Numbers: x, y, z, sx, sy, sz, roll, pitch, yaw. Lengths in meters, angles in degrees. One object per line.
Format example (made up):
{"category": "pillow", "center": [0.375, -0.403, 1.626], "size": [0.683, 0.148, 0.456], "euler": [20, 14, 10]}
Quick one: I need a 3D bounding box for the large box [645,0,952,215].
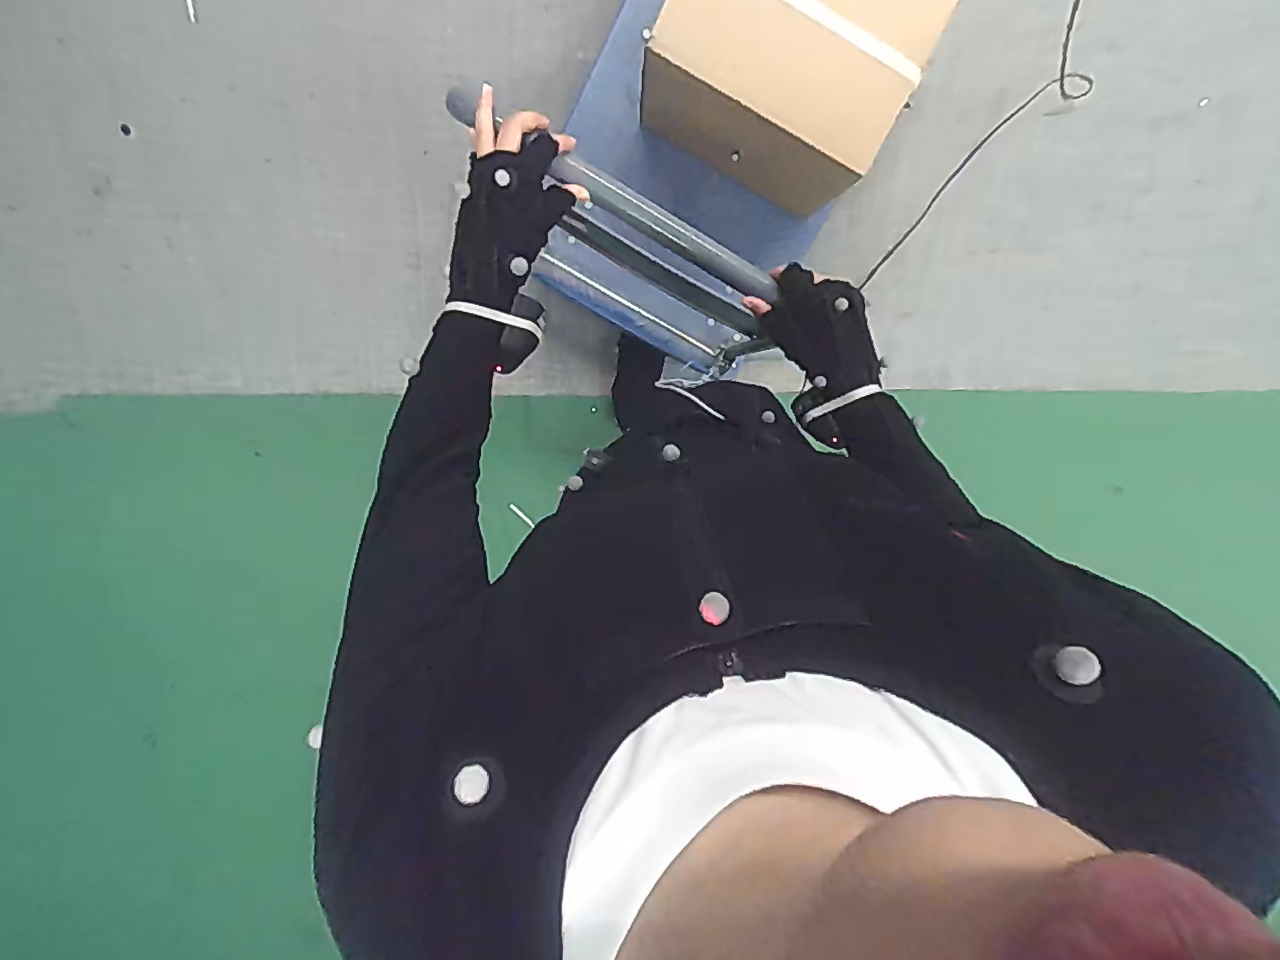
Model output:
{"category": "large box", "center": [0.253, -0.750, 0.984], "size": [0.408, 0.320, 0.320], "euler": [25, 100, -6]}
